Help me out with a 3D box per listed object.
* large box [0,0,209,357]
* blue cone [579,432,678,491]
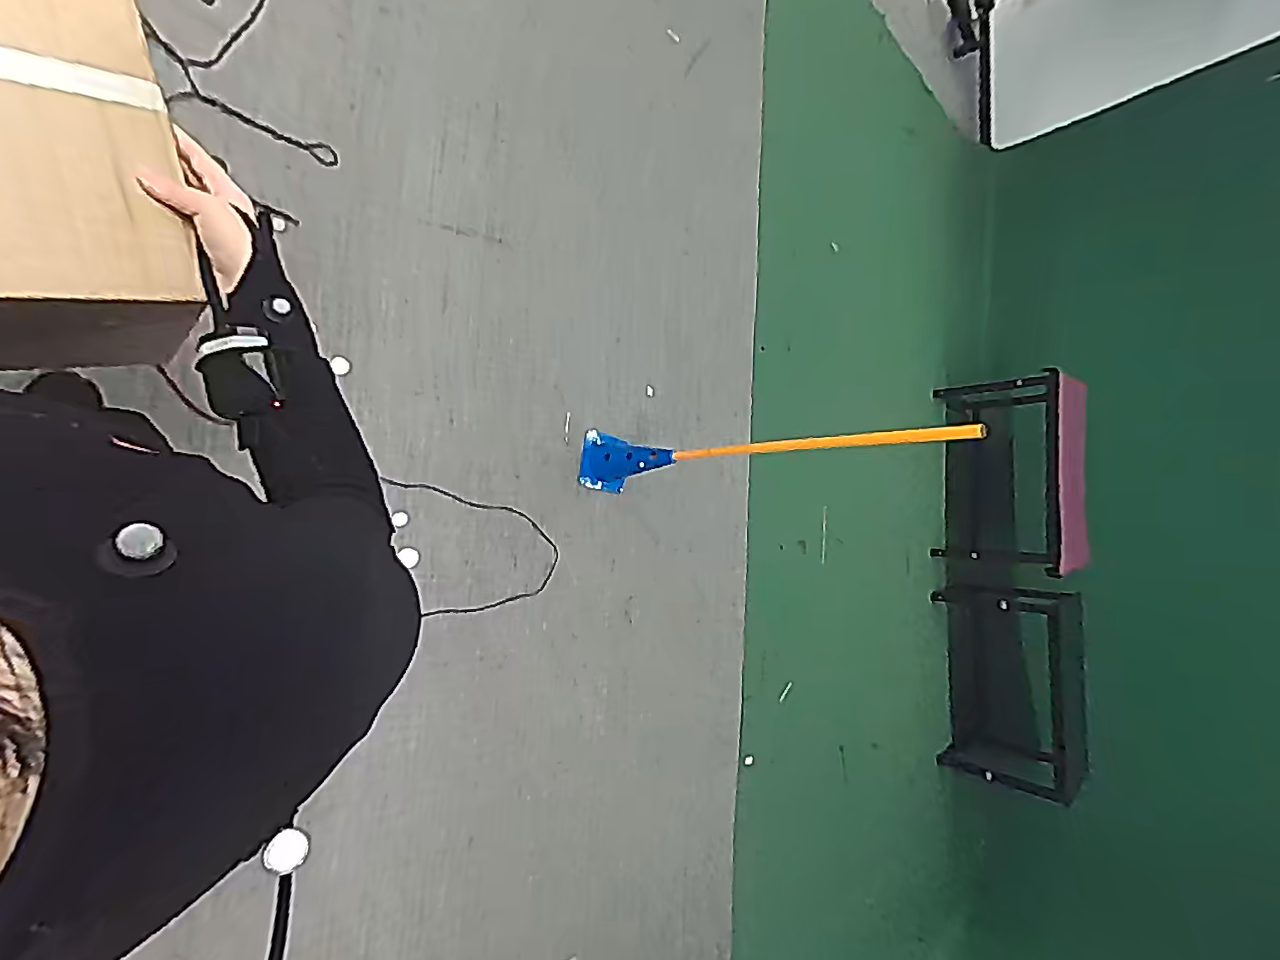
[{"bbox_3d":[-0.629,-0.266,0.395,0.408,0.320,0.320,-17,102,-47],"label":"large box"},{"bbox_3d":[-0.026,-0.069,1.805,0.192,0.380,0.193,18,76,-41],"label":"blue cone"}]
